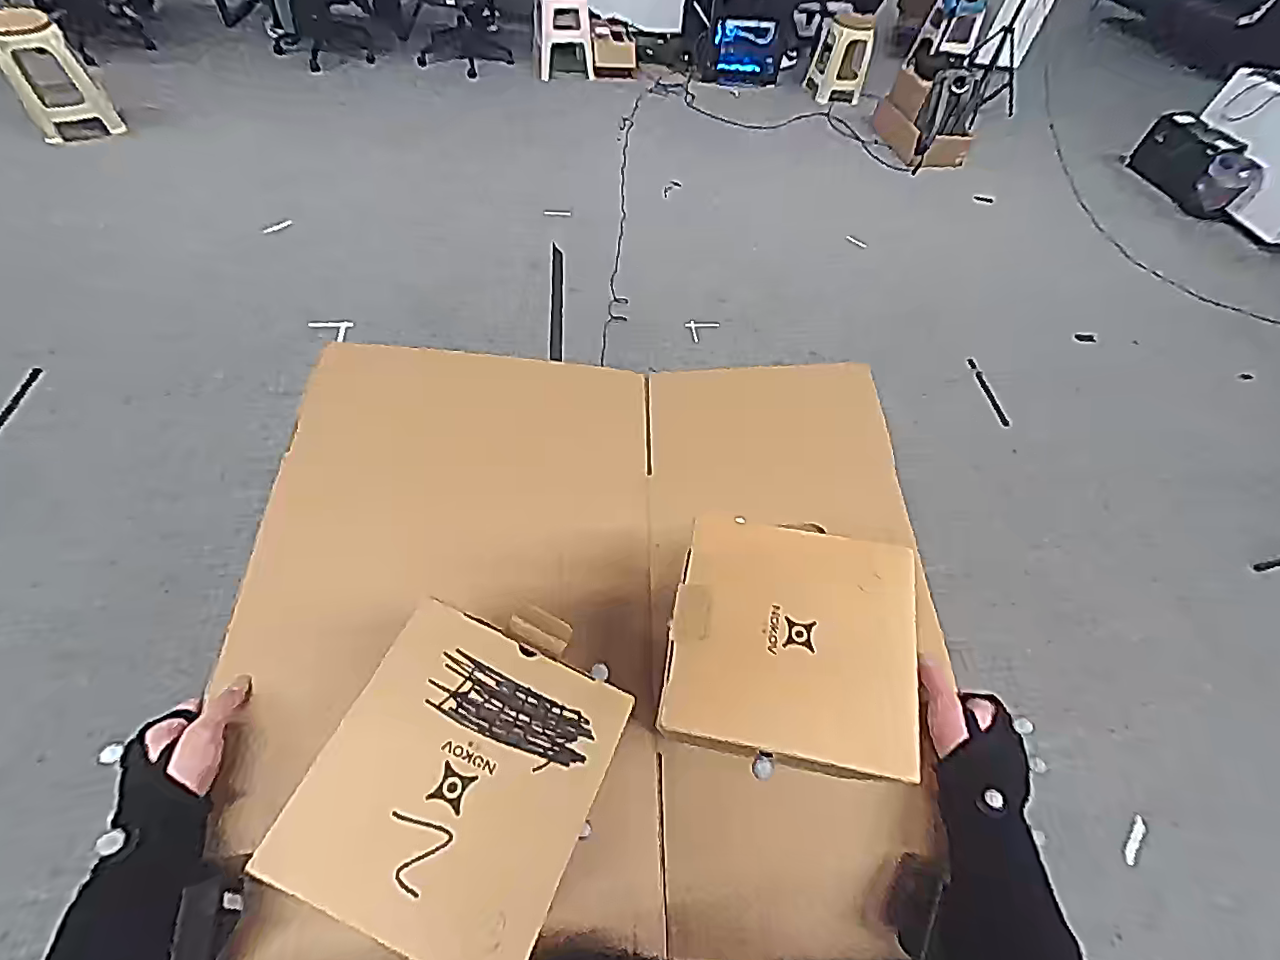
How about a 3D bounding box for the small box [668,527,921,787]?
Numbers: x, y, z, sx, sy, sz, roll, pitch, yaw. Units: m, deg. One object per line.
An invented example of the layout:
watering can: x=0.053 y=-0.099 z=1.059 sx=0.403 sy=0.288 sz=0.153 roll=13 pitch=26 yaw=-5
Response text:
small box: x=0.127 y=0.159 z=0.483 sx=0.179 sy=0.176 sz=0.168 roll=8 pitch=64 yaw=10
